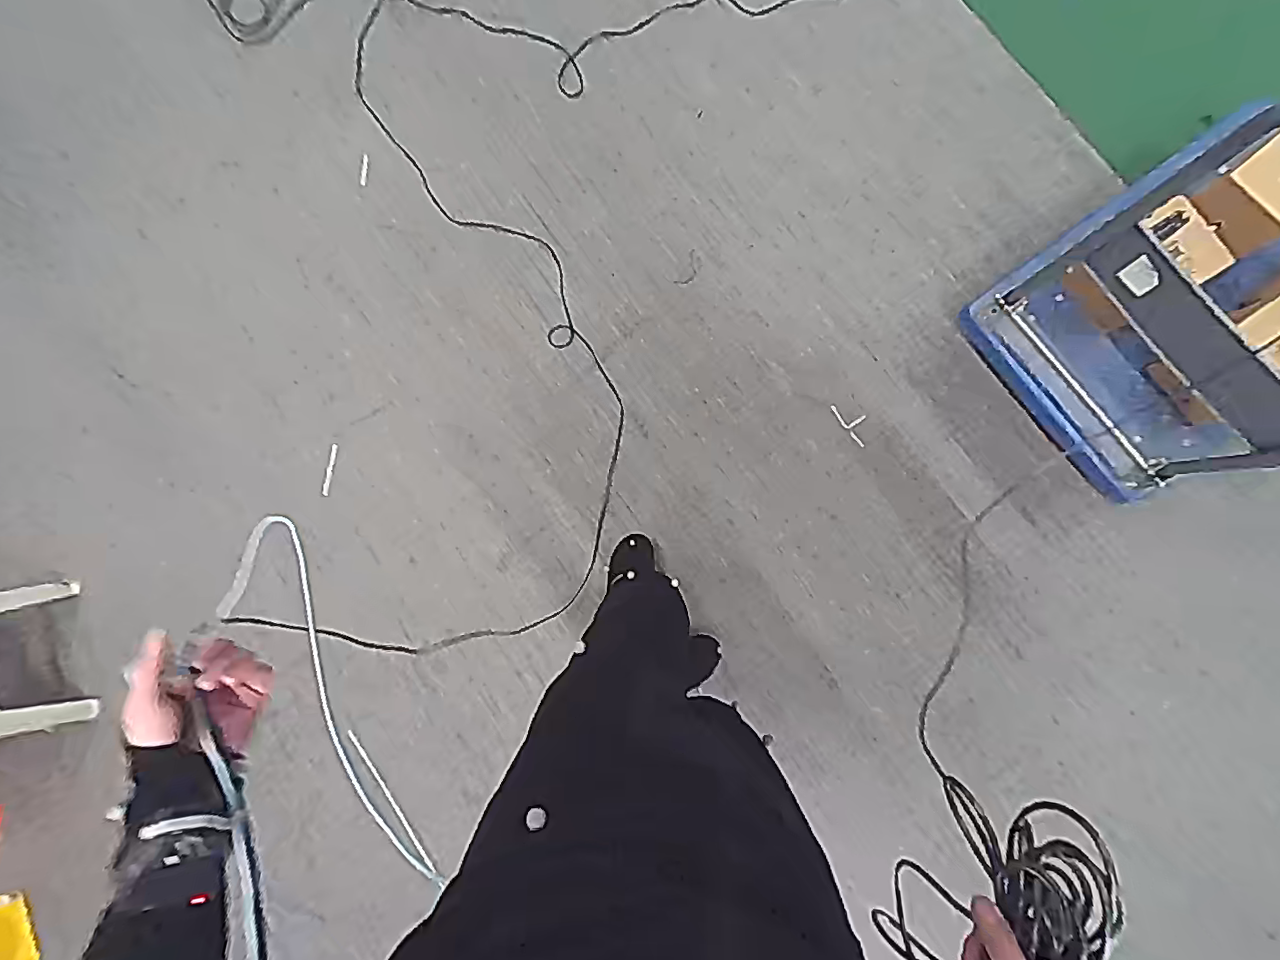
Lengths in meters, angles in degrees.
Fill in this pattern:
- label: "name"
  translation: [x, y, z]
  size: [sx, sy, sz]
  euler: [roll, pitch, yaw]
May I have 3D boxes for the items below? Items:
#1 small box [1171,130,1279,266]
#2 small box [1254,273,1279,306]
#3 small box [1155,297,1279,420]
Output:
- label: "small box"
  translation: [1.303, -0.597, 1.148]
  size: [0.179, 0.176, 0.168]
  euler: [-39, 83, -1]
- label: "small box"
  translation: [1.464, -0.406, 1.114]
  size: [0.179, 0.176, 0.168]
  euler: [-40, 81, 0]
- label: "small box"
  translation: [1.245, -0.248, 1.114]
  size: [0.179, 0.176, 0.168]
  euler: [-35, 82, 1]
